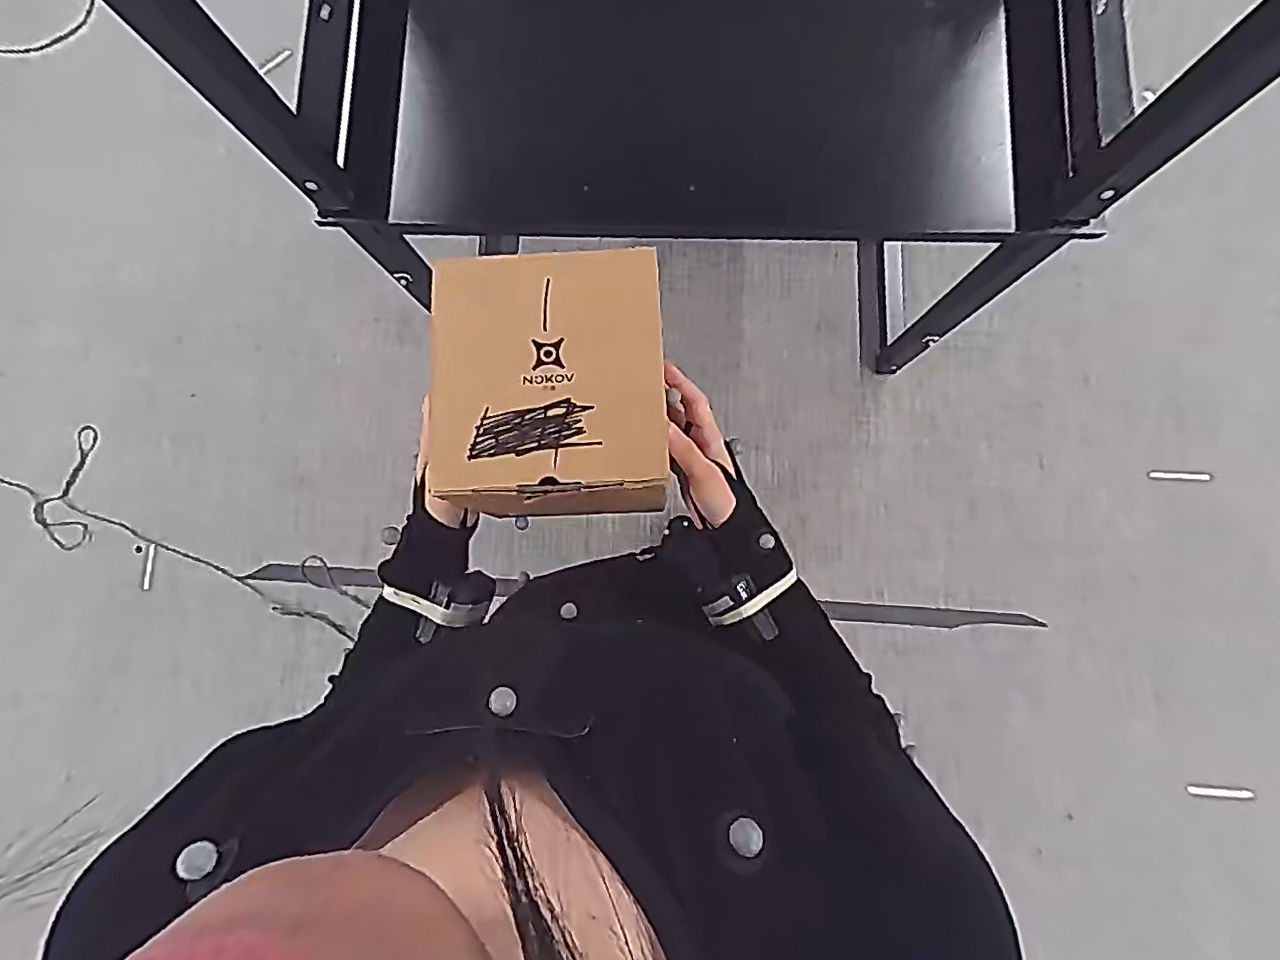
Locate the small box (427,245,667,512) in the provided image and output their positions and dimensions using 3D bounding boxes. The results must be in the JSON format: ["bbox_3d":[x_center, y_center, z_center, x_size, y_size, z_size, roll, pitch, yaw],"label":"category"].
[{"bbox_3d":[-0.063,-0.067,0.454,0.168,0.176,0.179,-3,79,0],"label":"small box"}]
